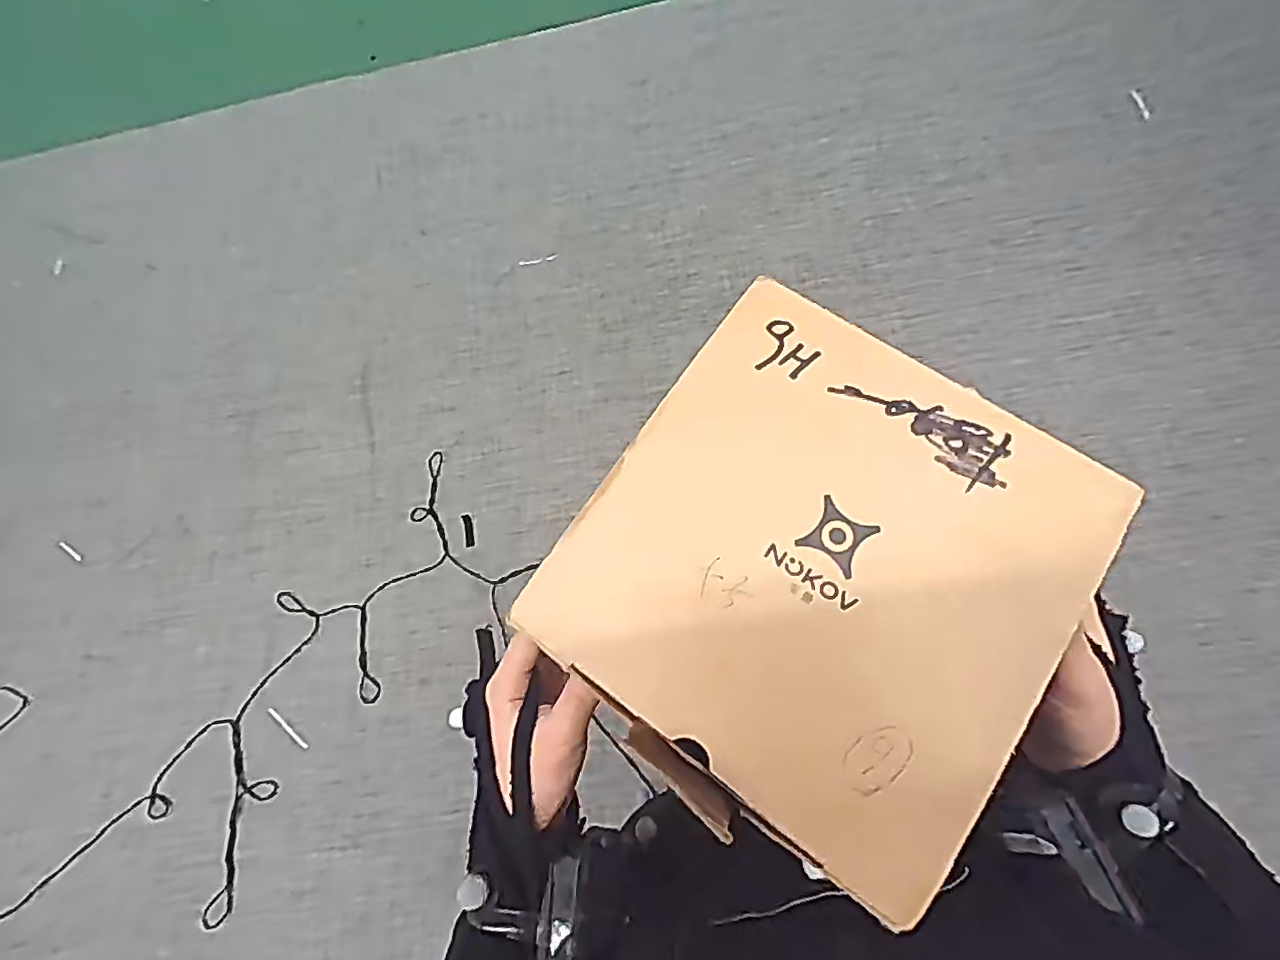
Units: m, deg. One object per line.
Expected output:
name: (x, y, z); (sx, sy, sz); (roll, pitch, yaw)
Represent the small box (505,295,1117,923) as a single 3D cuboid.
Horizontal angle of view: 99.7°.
small box: (0.068, 0.052, 0.280); (0.168, 0.176, 0.179); (35, 81, 12)
